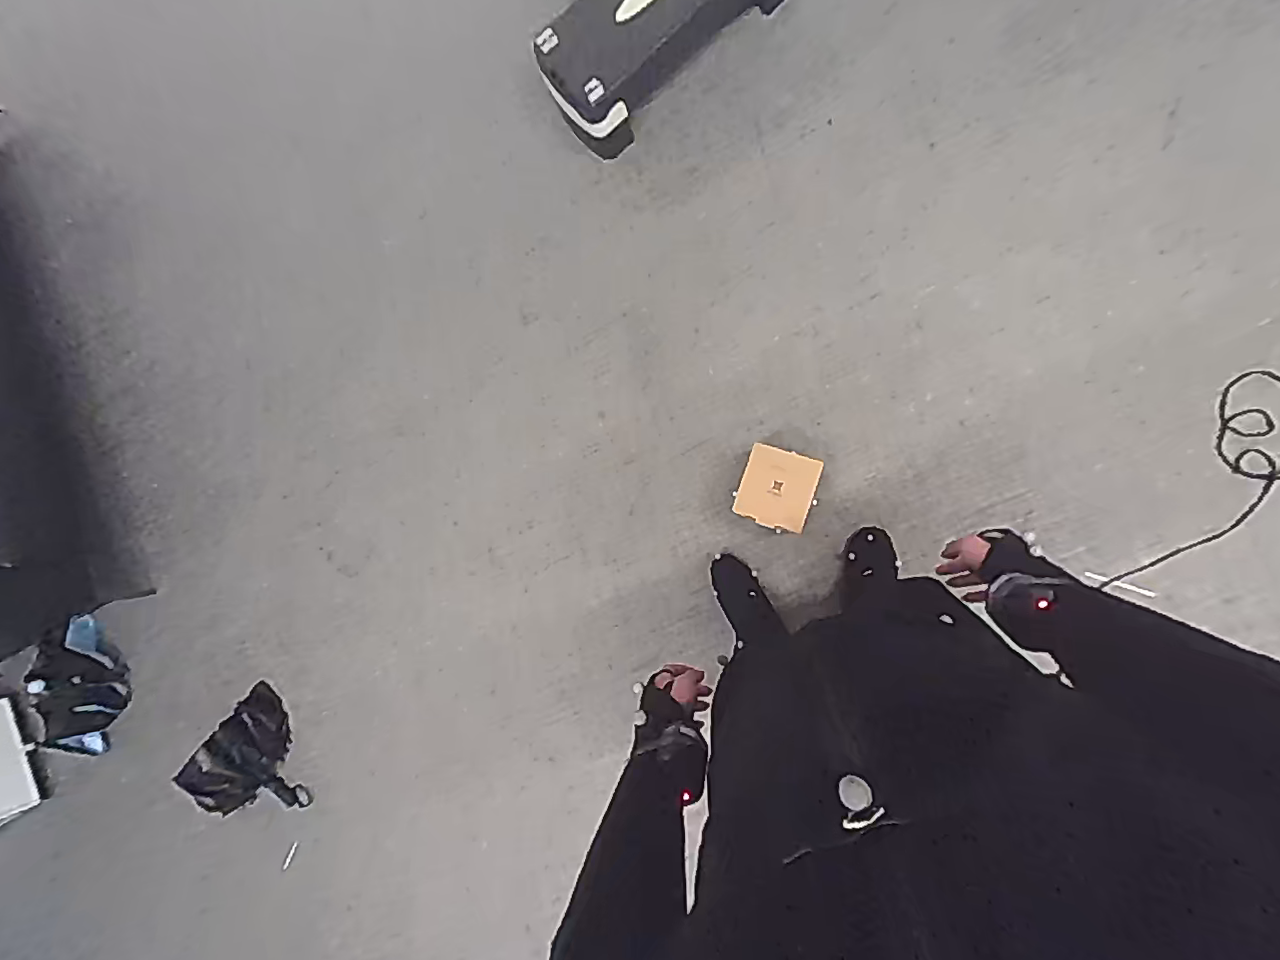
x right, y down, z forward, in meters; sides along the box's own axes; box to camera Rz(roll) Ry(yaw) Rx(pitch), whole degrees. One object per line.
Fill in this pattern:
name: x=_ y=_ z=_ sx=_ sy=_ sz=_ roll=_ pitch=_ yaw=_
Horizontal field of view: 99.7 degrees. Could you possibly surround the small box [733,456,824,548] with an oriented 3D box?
small box: x=0.337 y=0.056 z=1.326 sx=0.168 sy=0.176 sz=0.179 roll=18 pitch=89 yaw=14
